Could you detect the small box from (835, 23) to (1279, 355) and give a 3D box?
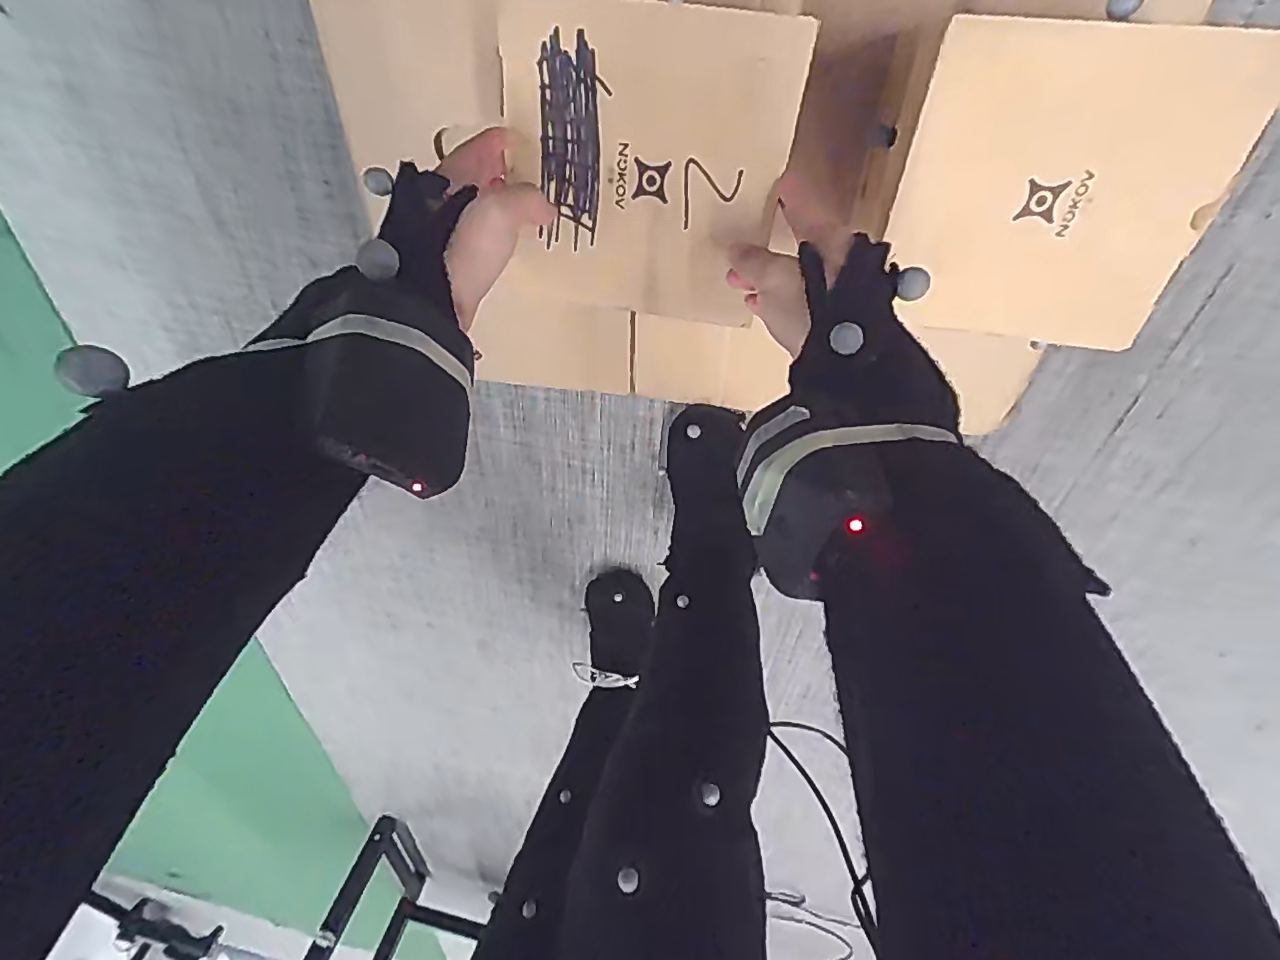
[{"bbox_3d":[0.251,-0.208,0.388,0.179,0.176,0.168,9,127,7],"label":"small box"}]
